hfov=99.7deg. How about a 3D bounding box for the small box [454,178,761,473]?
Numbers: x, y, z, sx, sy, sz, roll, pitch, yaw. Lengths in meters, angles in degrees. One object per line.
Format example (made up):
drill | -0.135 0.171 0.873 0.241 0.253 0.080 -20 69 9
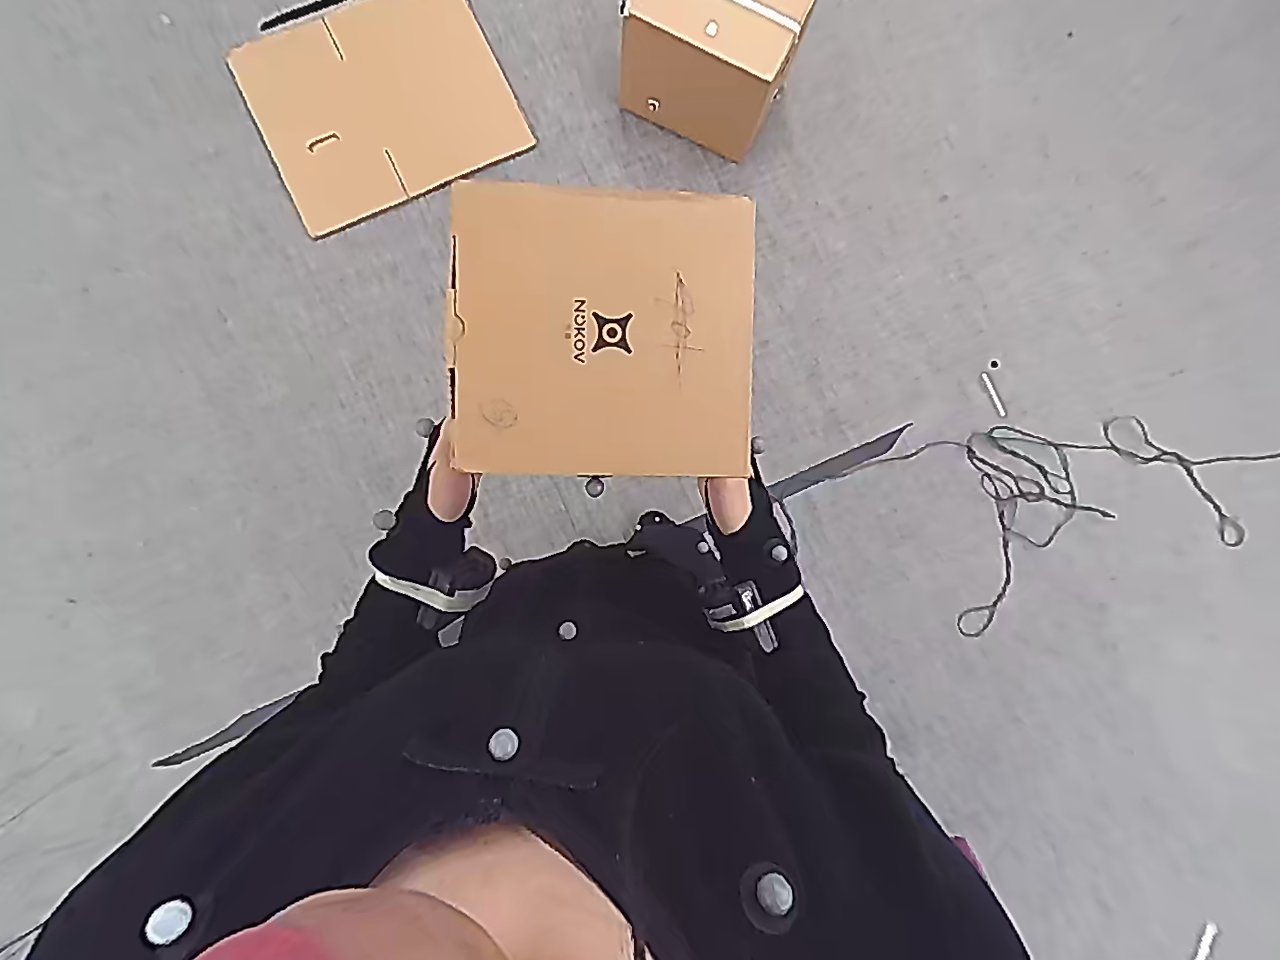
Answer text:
small box | -0.023 -0.089 0.390 0.179 0.176 0.168 0 93 -5
